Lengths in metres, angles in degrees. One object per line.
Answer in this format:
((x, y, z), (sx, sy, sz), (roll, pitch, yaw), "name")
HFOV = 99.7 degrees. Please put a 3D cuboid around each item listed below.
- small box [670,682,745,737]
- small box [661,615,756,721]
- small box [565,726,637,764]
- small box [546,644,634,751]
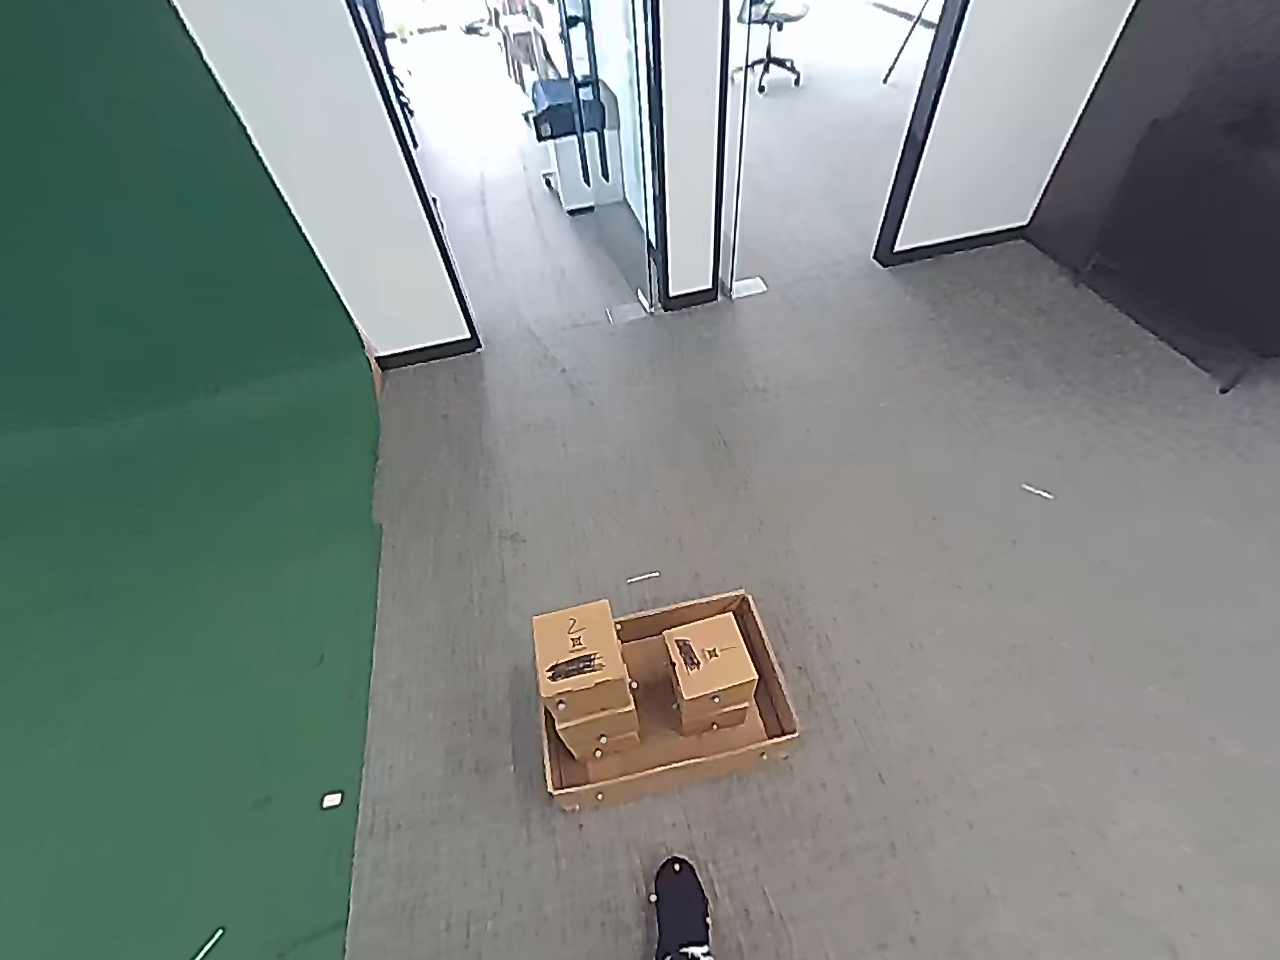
((0.169, 0.555, 1.409), (0.168, 0.176, 0.179), (-11, 51, -3), "small box")
((0.157, 0.450, 1.280), (0.179, 0.176, 0.168), (-13, 52, -7), "small box")
((-0.106, 0.610, 1.384), (0.168, 0.176, 0.179), (-11, 49, -5), "small box")
((-0.112, 0.507, 1.257), (0.179, 0.176, 0.168), (-12, 50, -6), "small box")
